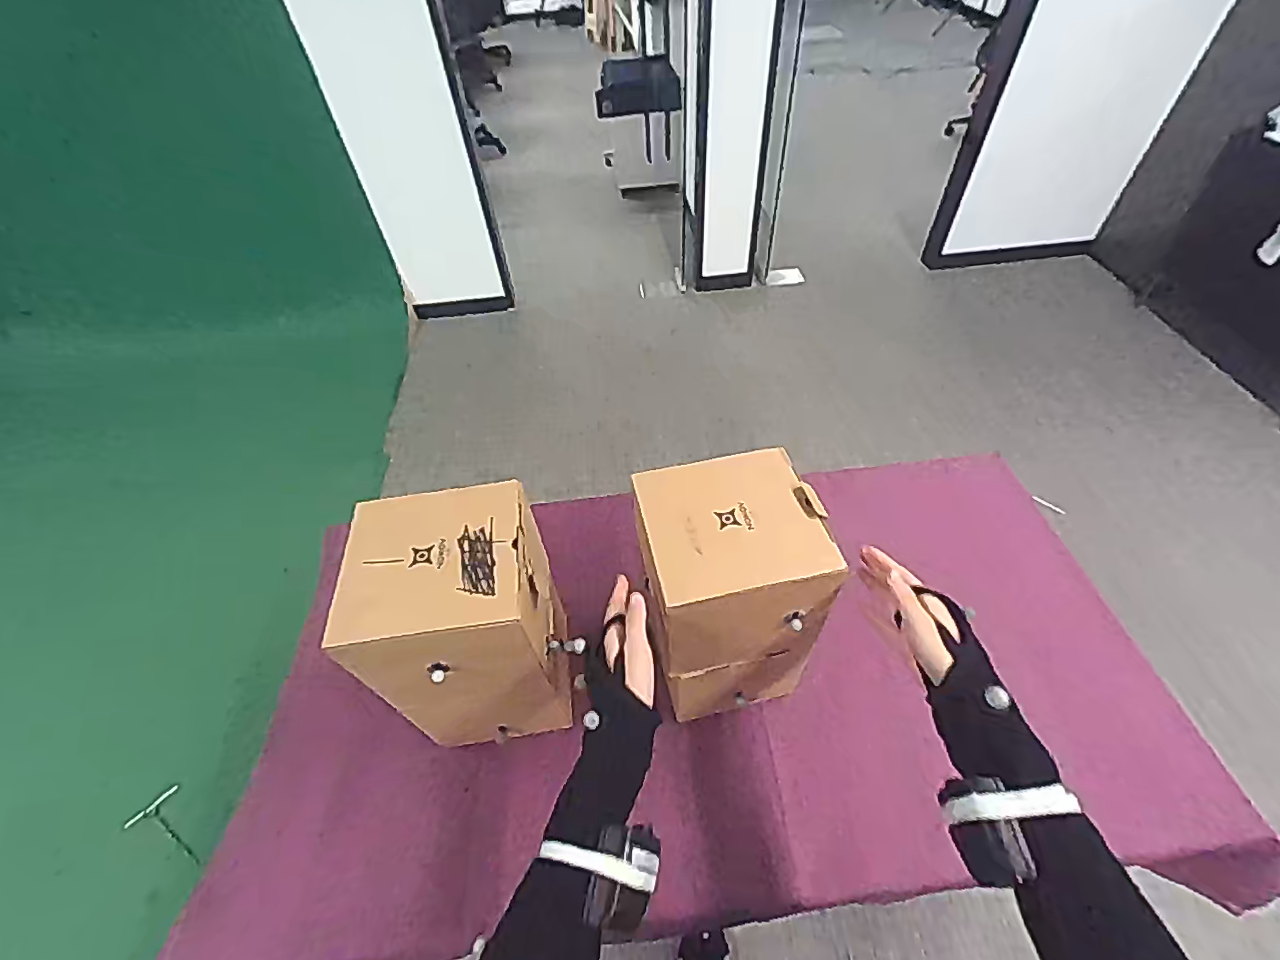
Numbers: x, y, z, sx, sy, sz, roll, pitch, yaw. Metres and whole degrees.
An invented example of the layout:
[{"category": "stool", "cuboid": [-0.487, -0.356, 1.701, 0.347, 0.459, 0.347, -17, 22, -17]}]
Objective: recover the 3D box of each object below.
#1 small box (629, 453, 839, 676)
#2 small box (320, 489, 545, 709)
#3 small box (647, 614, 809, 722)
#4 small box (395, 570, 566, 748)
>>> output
[{"category": "small box", "cuboid": [0.090, 0.097, 0.603, 0.179, 0.176, 0.168, -11, 49, -4]}, {"category": "small box", "cuboid": [-0.202, 0.133, 0.590, 0.179, 0.176, 0.168, -8, 50, -2]}, {"category": "small box", "cuboid": [0.102, 0.198, 0.730, 0.168, 0.176, 0.179, -13, 51, -6]}, {"category": "small box", "cuboid": [-0.194, 0.239, 0.717, 0.179, 0.176, 0.168, -8, 50, -3]}]
